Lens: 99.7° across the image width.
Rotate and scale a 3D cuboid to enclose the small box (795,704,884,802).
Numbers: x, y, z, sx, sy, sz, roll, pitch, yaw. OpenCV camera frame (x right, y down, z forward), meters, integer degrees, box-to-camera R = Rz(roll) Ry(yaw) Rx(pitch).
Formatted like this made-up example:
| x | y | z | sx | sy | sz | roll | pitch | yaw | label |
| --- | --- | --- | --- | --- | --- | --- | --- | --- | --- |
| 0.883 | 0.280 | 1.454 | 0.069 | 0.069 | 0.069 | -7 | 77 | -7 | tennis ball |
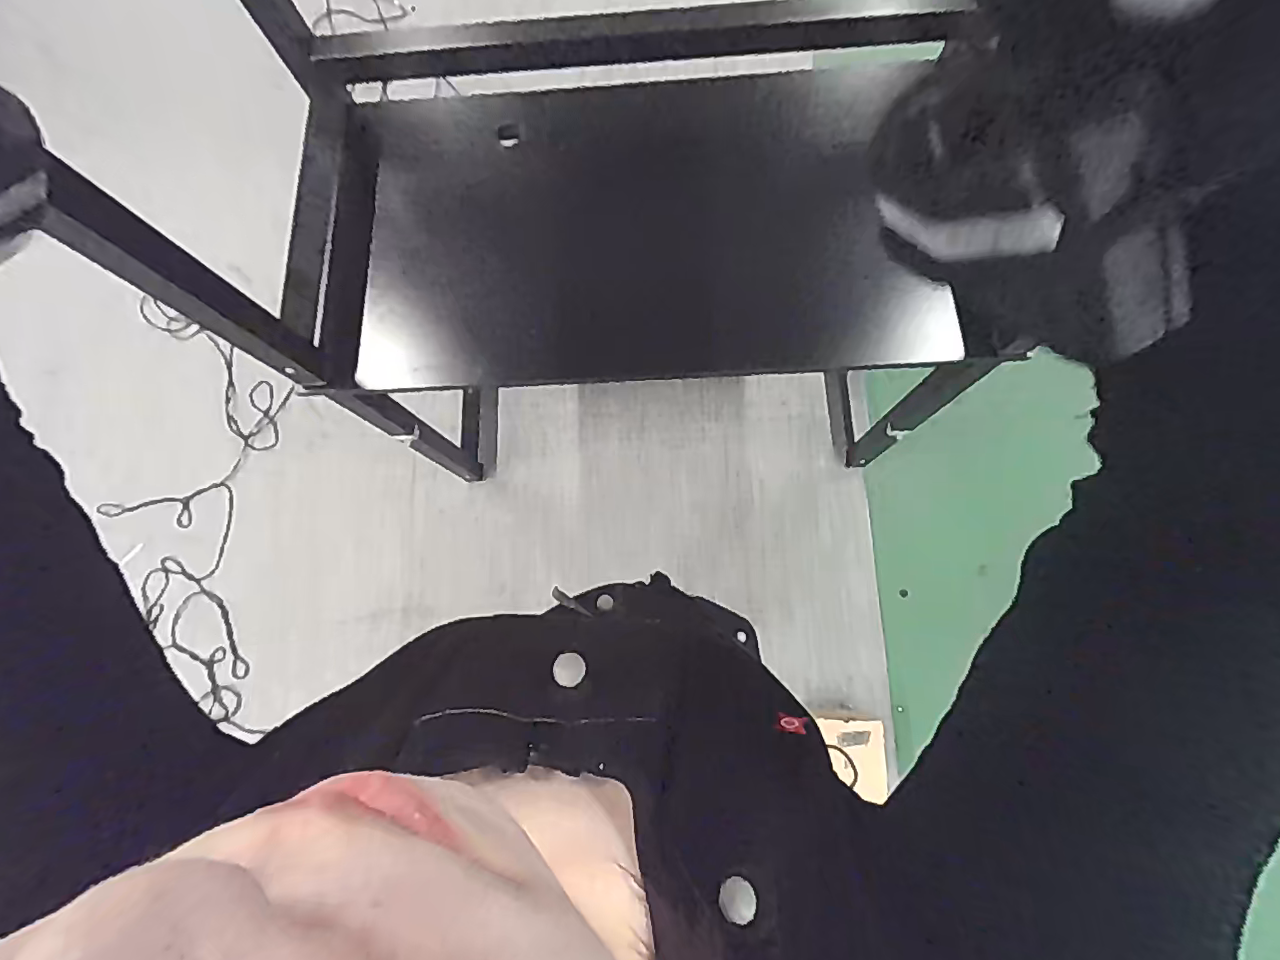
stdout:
| x | y | z | sx | sy | sz | roll | pitch | yaw | label |
| --- | --- | --- | --- | --- | --- | --- | --- | --- | --- |
| 0.478 | 0.655 | 1.316 | 0.168 | 0.176 | 0.179 | 2 | 79 | 5 | small box |
